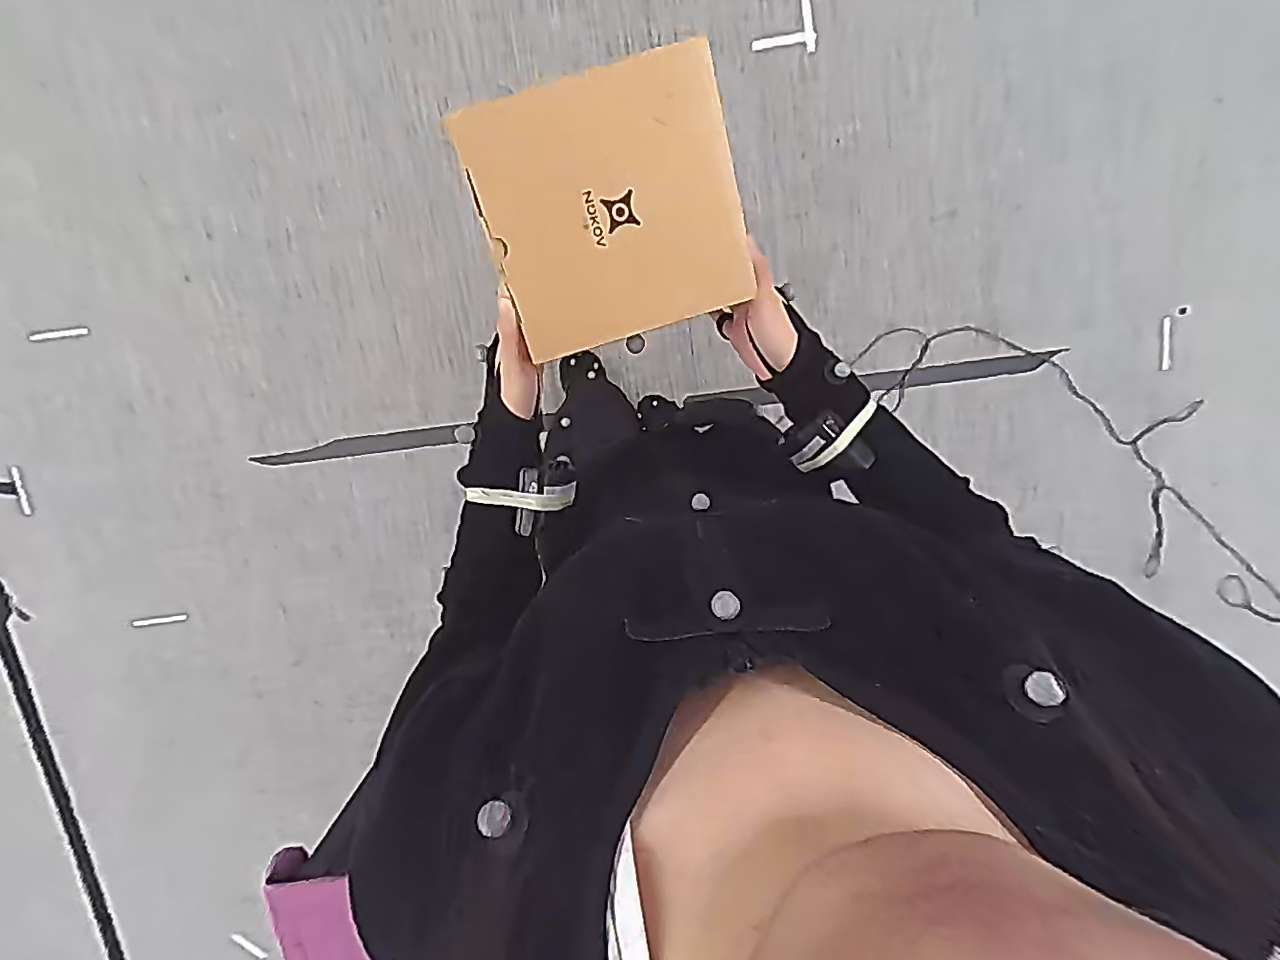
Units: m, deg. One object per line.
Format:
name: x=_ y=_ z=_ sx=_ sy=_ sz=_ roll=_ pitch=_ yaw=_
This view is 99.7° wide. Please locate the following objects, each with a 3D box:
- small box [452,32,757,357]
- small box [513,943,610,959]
small box: x=-0.024 y=-0.215 z=0.443 sx=0.179 sy=0.176 sz=0.168 roll=-17 pitch=111 yaw=2
small box: x=-0.127 y=0.843 z=0.801 sx=0.179 sy=0.176 sz=0.168 roll=-9 pitch=100 yaw=0
